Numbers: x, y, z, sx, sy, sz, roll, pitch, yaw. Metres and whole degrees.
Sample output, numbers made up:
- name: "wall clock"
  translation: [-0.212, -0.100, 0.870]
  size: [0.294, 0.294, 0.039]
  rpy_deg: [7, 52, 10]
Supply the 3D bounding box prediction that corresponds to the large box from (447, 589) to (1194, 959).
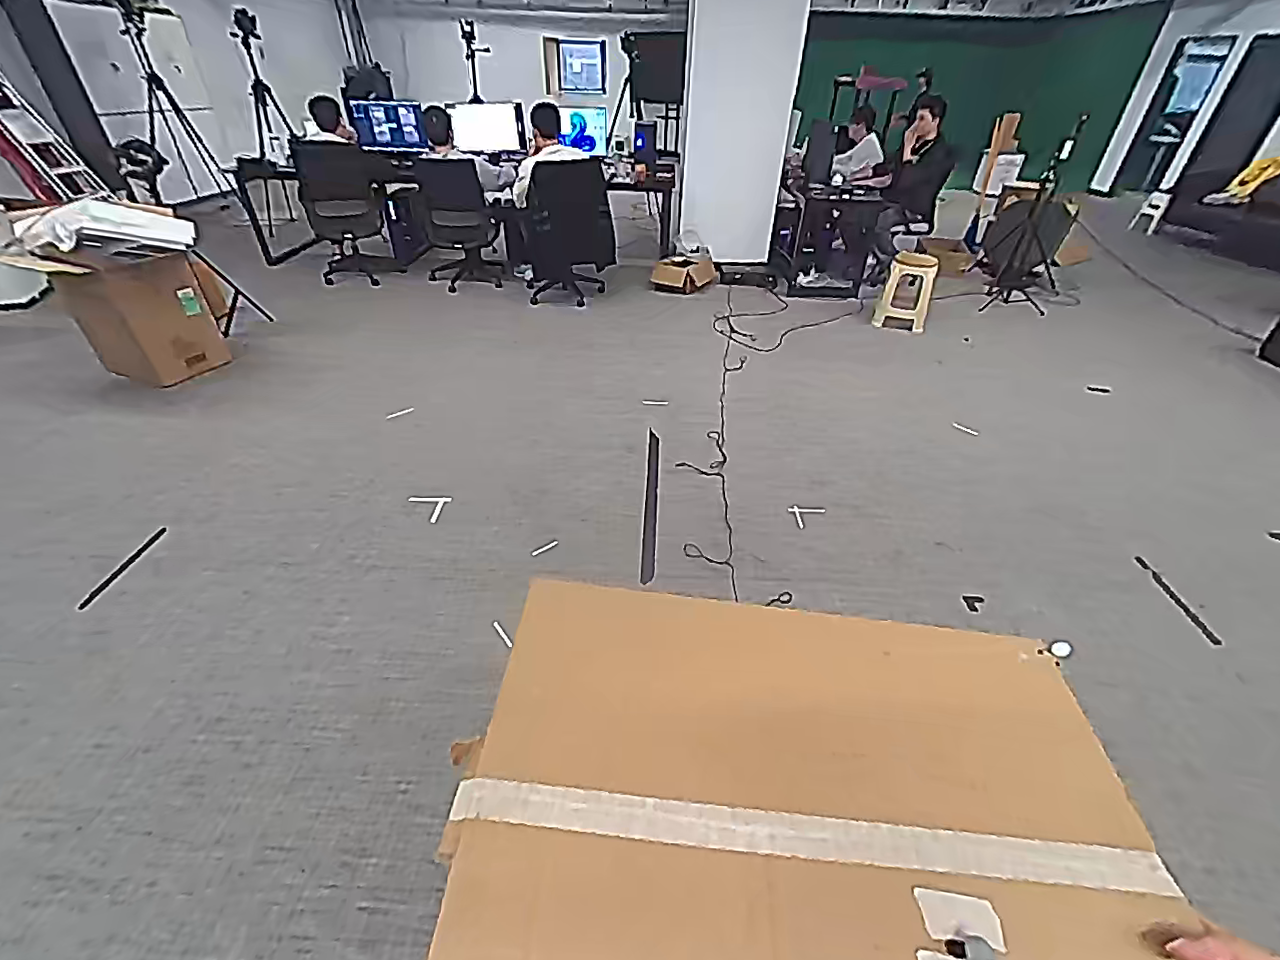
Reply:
- name: "large box"
  translation: [0.088, 0.319, 0.418]
  size: [0.408, 0.320, 0.320]
  rpy_deg: [8, 43, -1]
